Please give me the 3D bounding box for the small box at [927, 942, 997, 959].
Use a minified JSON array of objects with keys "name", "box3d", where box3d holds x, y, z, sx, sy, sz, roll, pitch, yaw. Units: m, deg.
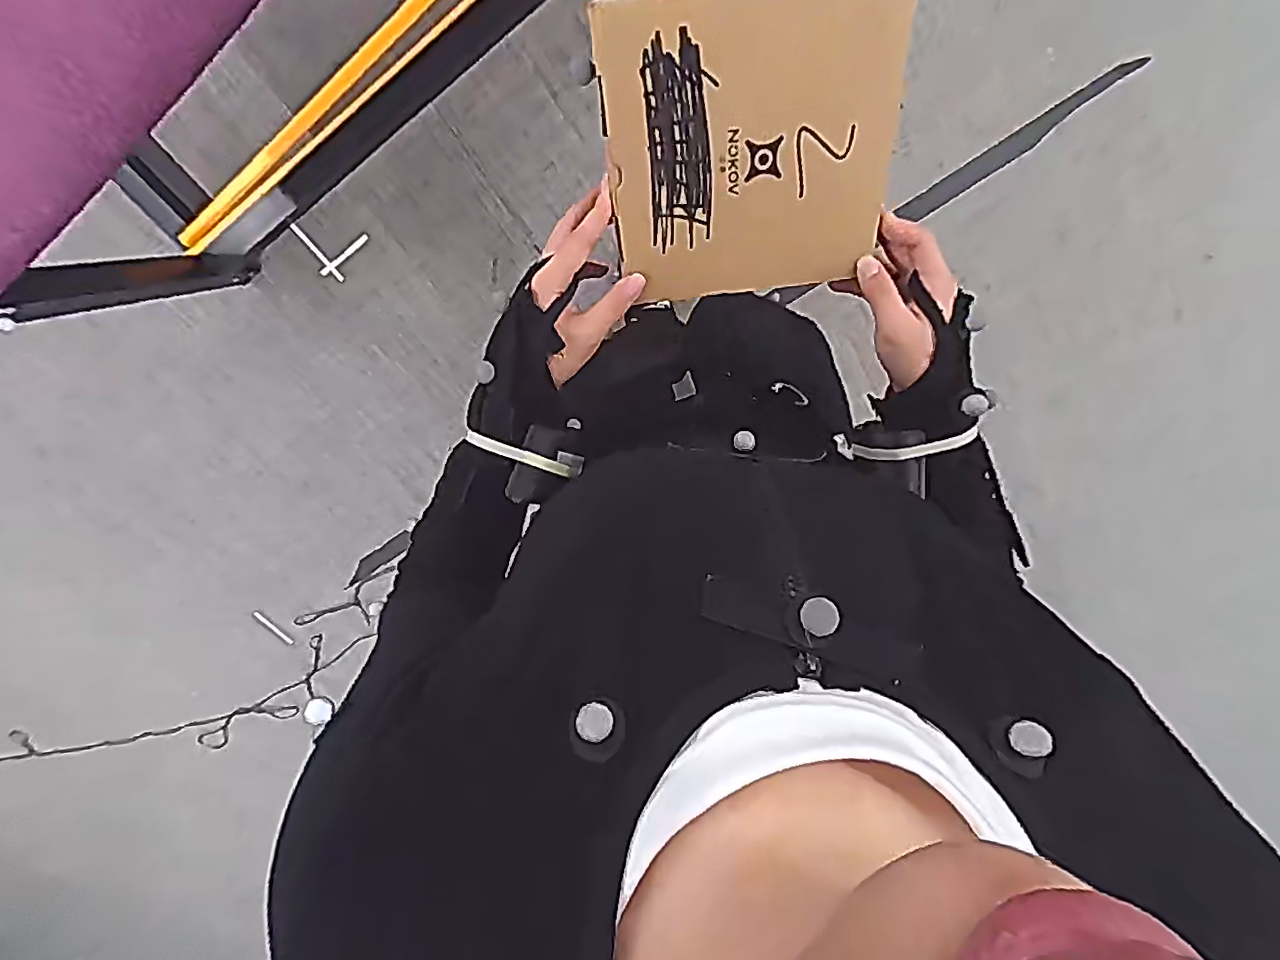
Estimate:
[{"name":"small box","box3d":[0.802,1.233,1.269,0.168,0.176,0.179,-32,113,10]}]
